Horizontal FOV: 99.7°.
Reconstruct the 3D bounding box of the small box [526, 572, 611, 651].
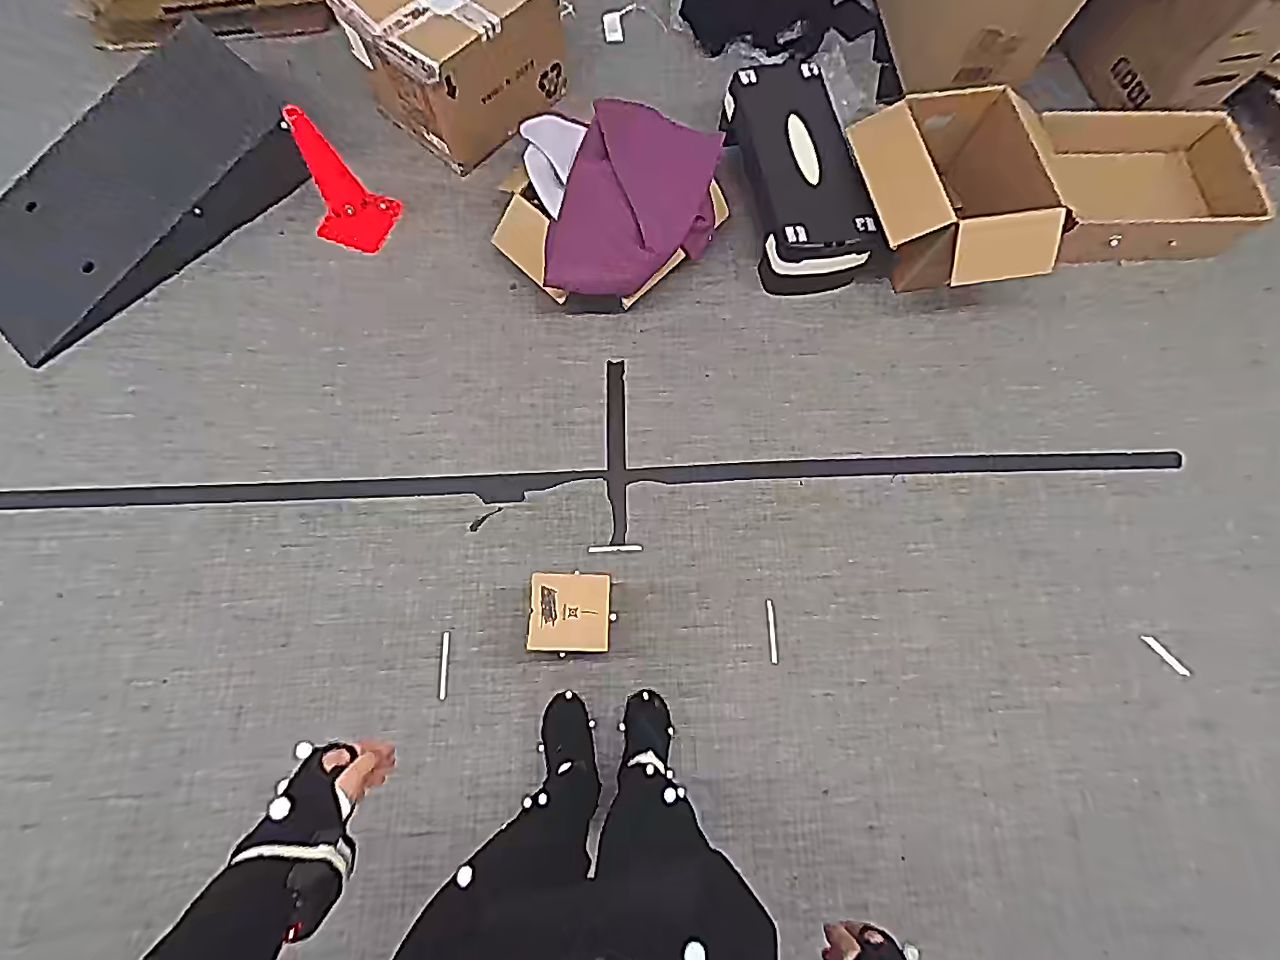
[{"bbox_3d":[-0.158,0.308,1.256,0.179,0.176,0.168,2,75,-3],"label":"small box"}]
